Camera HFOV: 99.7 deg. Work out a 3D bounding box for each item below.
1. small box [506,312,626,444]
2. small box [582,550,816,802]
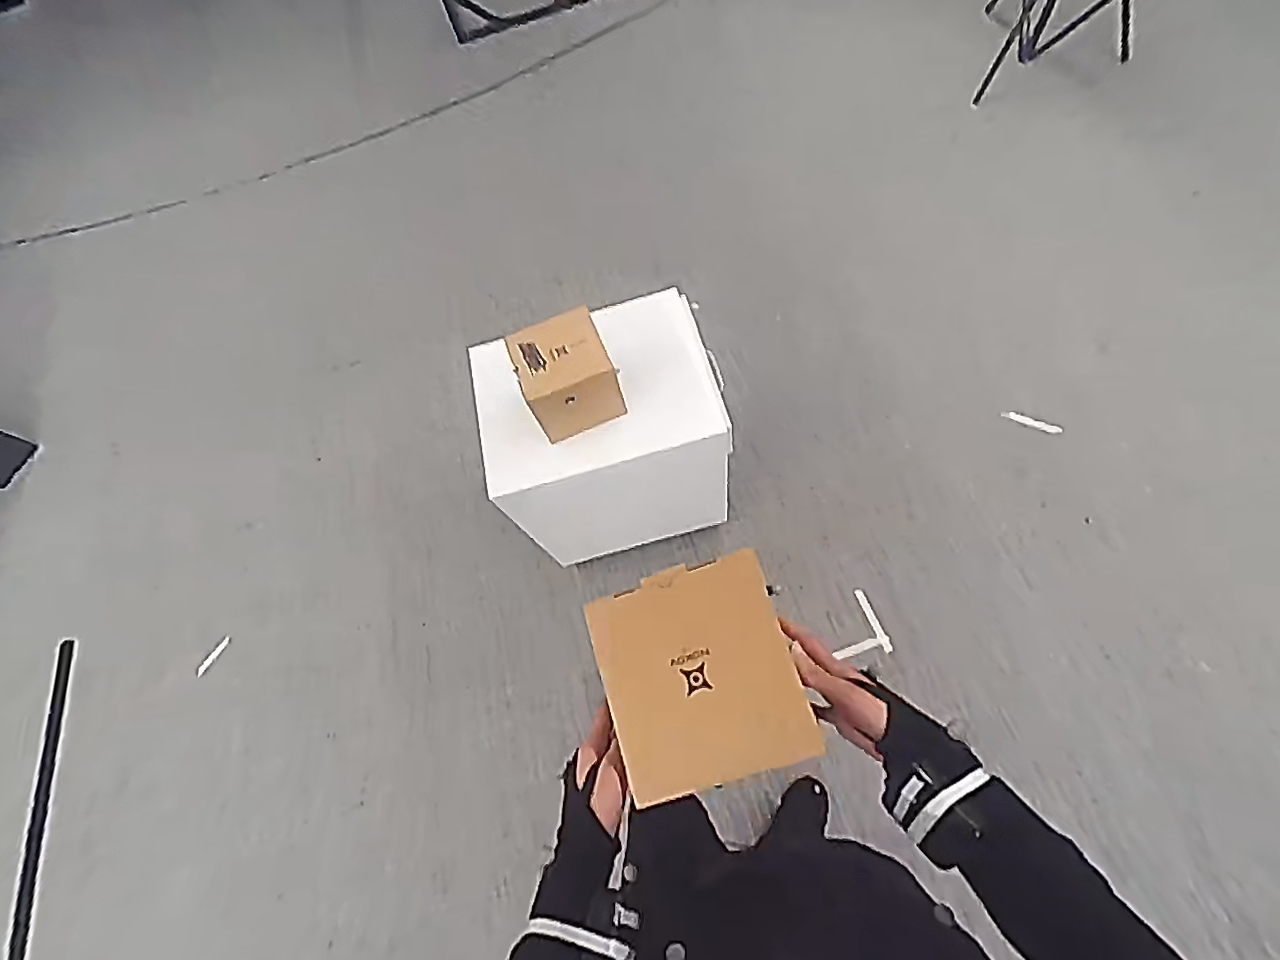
[{"bbox_3d":[-0.144,-0.199,1.096,0.179,0.176,0.168,-22,65,-2],"label":"small box"},{"bbox_3d":[0.065,0.188,0.545,0.168,0.176,0.179,-22,69,8],"label":"small box"}]
